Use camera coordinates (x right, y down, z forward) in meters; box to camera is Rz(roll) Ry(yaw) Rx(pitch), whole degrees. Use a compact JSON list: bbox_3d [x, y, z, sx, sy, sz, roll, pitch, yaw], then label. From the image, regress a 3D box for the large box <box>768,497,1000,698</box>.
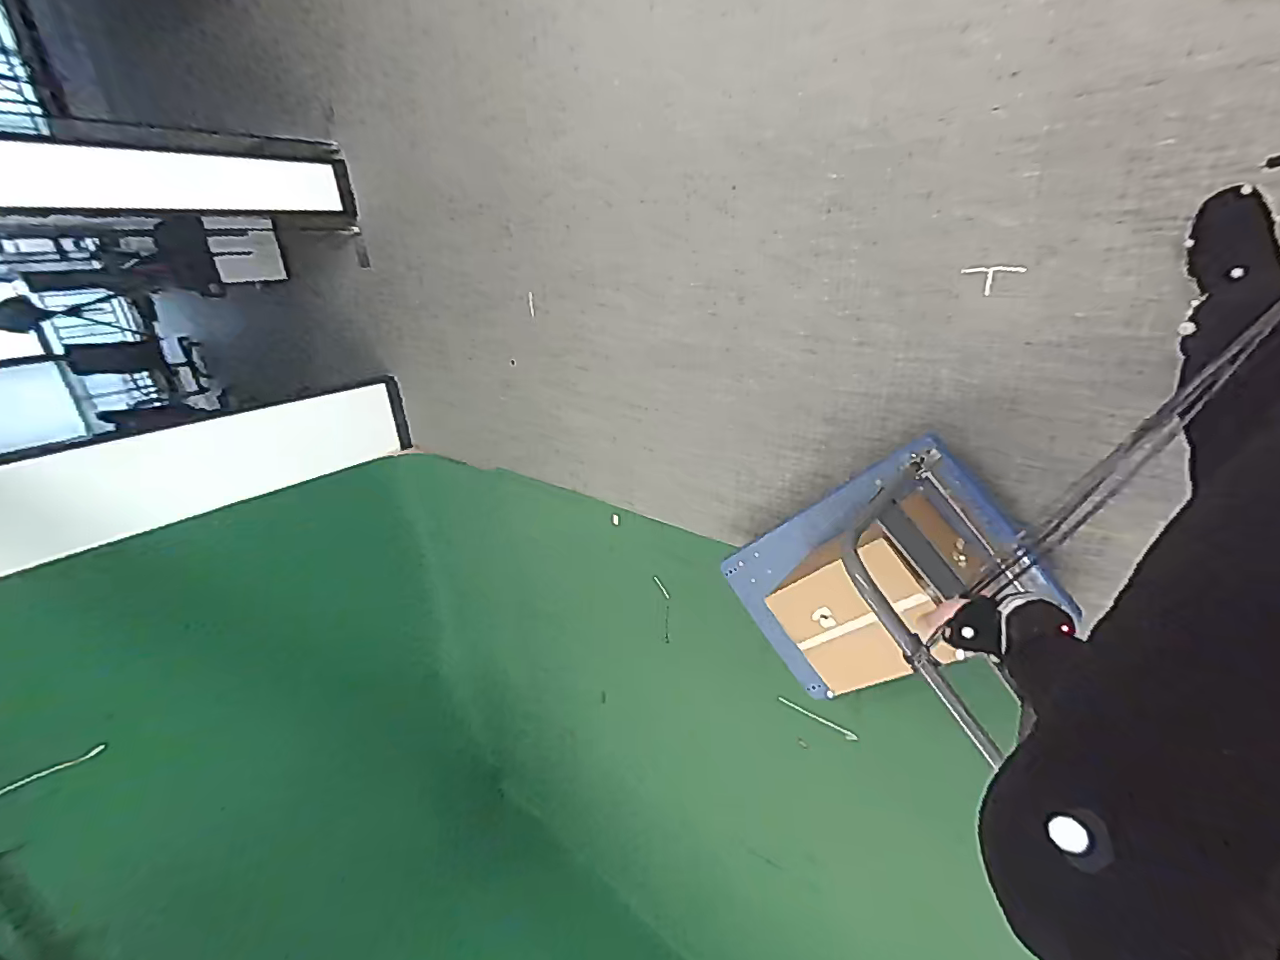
[{"bbox_3d":[0.626,0.306,1.410,0.320,0.320,0.408,55,136,10],"label":"large box"}]
